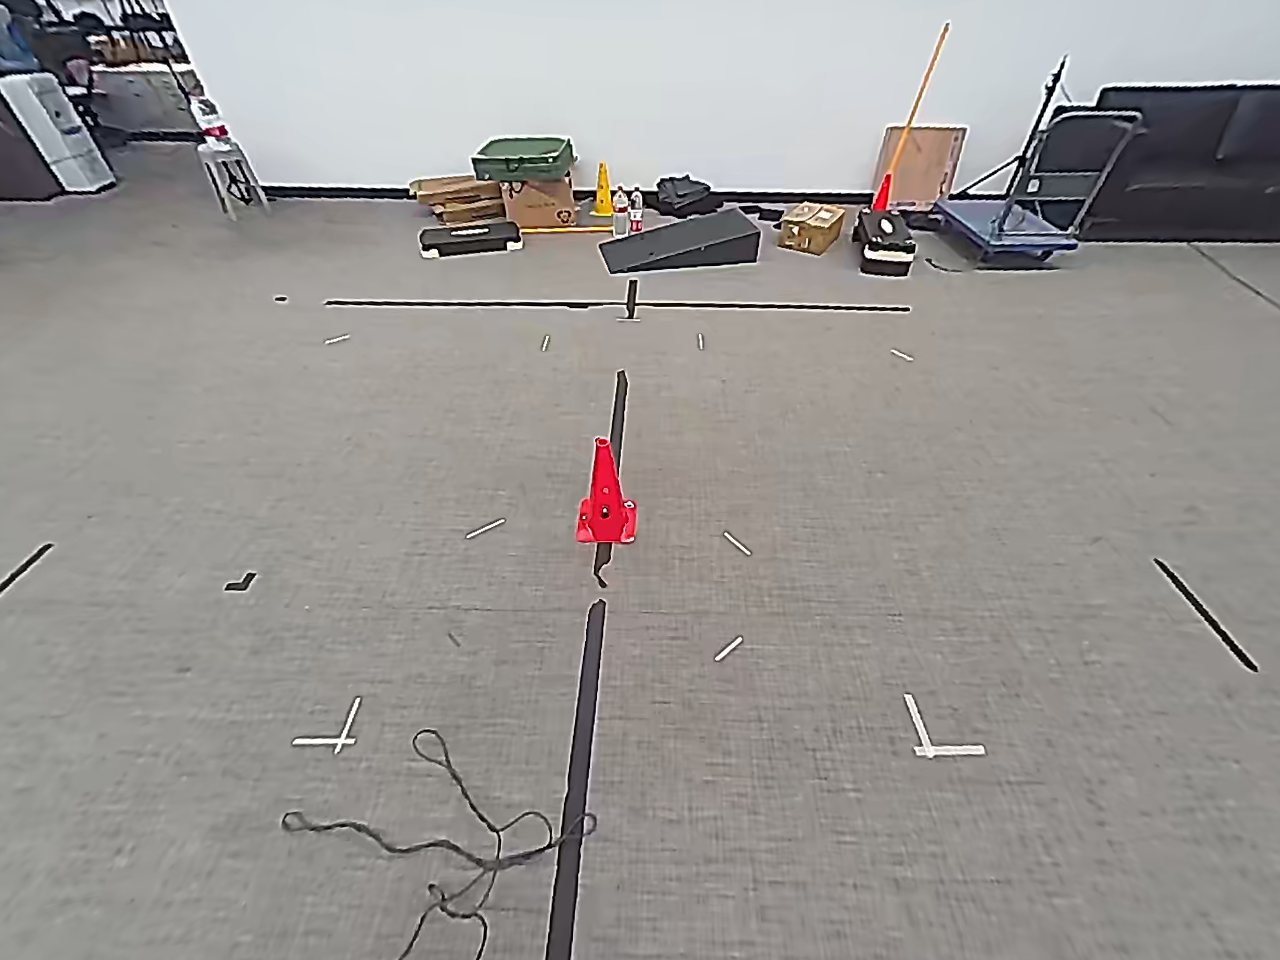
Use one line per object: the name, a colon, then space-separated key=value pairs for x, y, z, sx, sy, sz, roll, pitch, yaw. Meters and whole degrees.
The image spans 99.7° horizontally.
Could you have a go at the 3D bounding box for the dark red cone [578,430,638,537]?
dark red cone: x=-0.111 y=-0.002 z=1.751 sx=0.201 sy=0.394 sz=0.202 roll=0 pitch=44 yaw=1
